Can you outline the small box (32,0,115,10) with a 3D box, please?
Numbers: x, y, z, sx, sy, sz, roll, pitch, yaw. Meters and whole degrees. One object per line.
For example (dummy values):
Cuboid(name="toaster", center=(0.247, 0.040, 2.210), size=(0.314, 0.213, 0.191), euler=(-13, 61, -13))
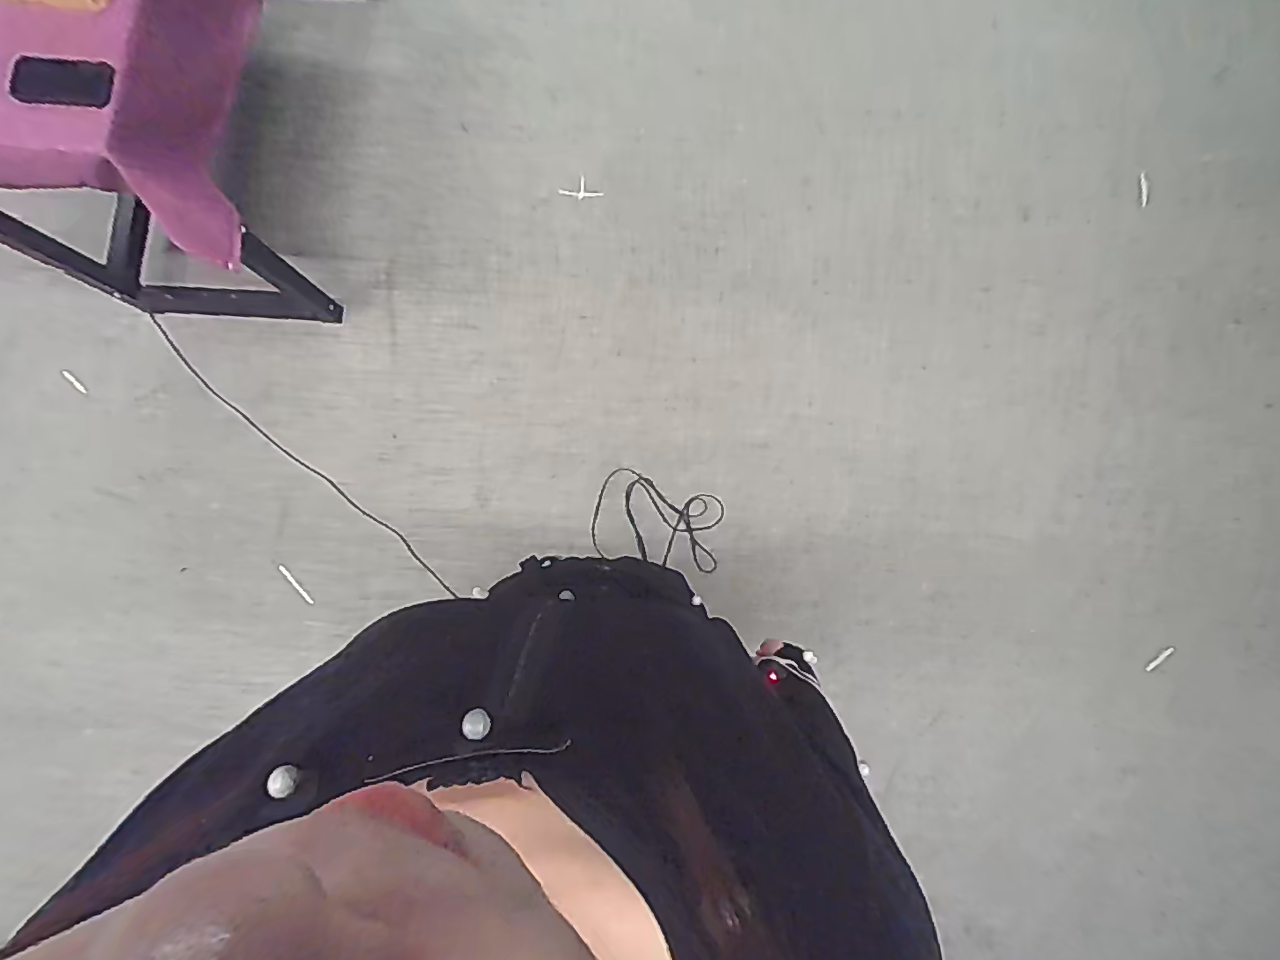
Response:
Cuboid(name="small box", center=(-0.952, -0.878, 0.831), size=(0.179, 0.176, 0.168), euler=(8, 83, 0))
